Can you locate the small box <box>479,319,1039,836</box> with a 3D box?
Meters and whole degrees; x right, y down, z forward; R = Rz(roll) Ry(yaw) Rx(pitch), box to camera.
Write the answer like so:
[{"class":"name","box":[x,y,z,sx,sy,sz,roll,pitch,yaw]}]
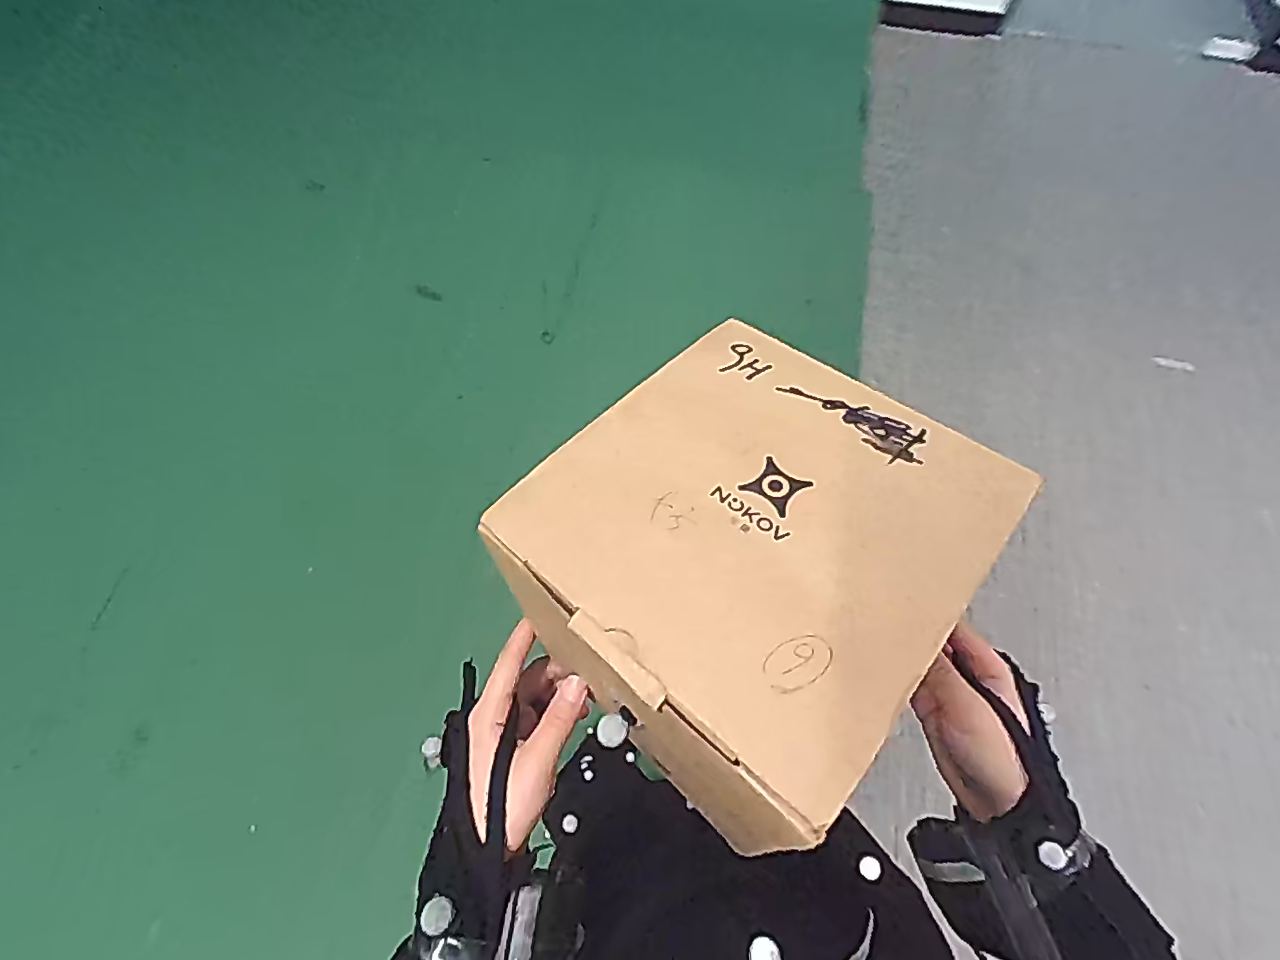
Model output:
[{"class":"small box","box":[0.052,0.056,0.289,0.168,0.176,0.179,38,64,25]}]
